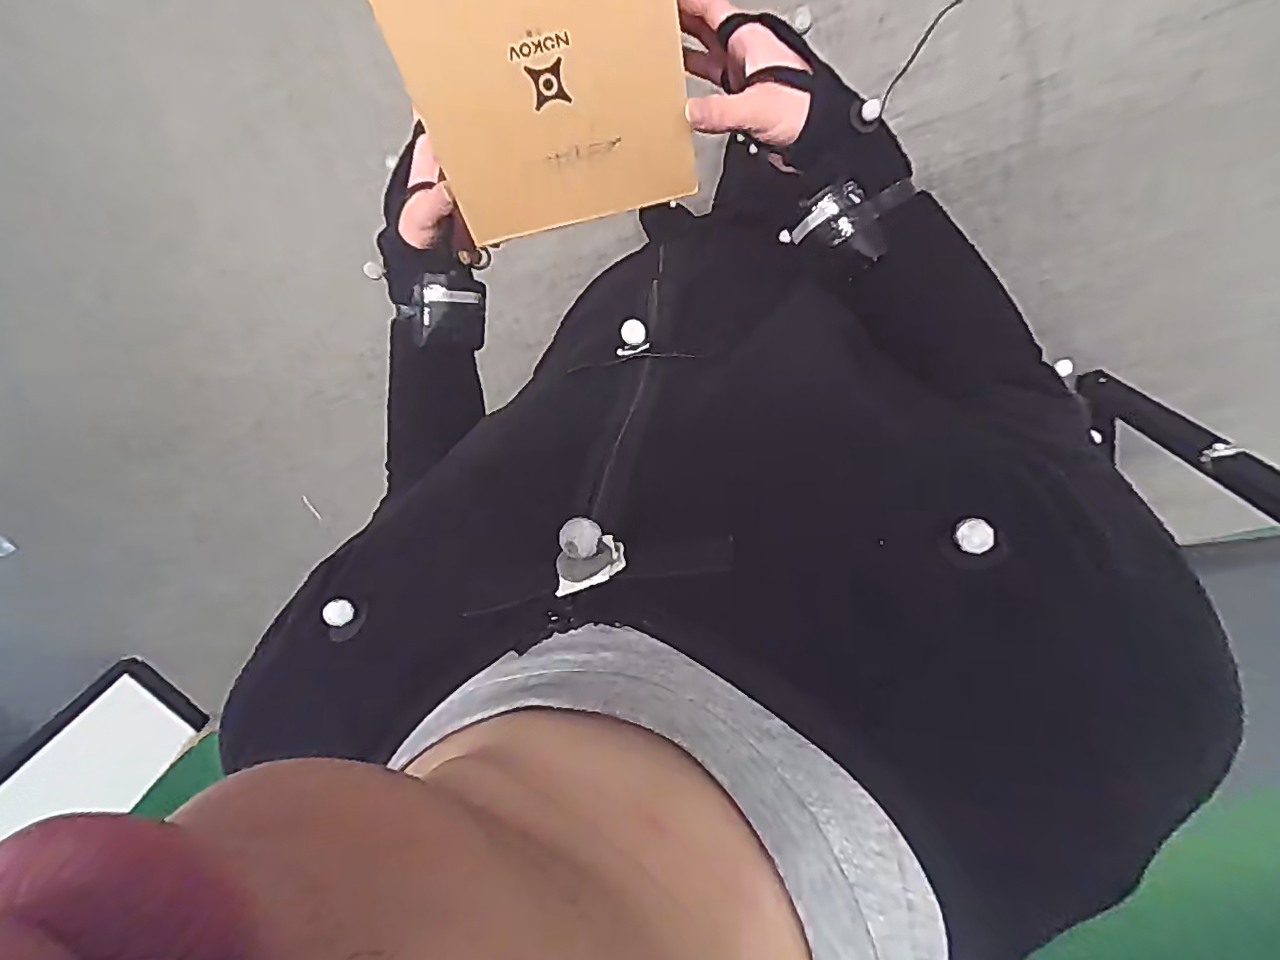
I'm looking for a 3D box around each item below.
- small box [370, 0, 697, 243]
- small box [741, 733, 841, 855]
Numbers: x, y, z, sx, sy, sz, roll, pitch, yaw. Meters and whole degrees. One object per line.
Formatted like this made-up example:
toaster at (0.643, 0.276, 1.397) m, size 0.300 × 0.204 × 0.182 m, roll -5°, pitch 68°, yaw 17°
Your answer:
small box at (-0.062, -0.299, 0.369) m, size 0.168 × 0.176 × 0.179 m, roll -10°, pitch 140°, yaw 6°
small box at (0.315, 0.658, 1.147) m, size 0.168 × 0.176 × 0.179 m, roll -14°, pitch 120°, yaw 15°
